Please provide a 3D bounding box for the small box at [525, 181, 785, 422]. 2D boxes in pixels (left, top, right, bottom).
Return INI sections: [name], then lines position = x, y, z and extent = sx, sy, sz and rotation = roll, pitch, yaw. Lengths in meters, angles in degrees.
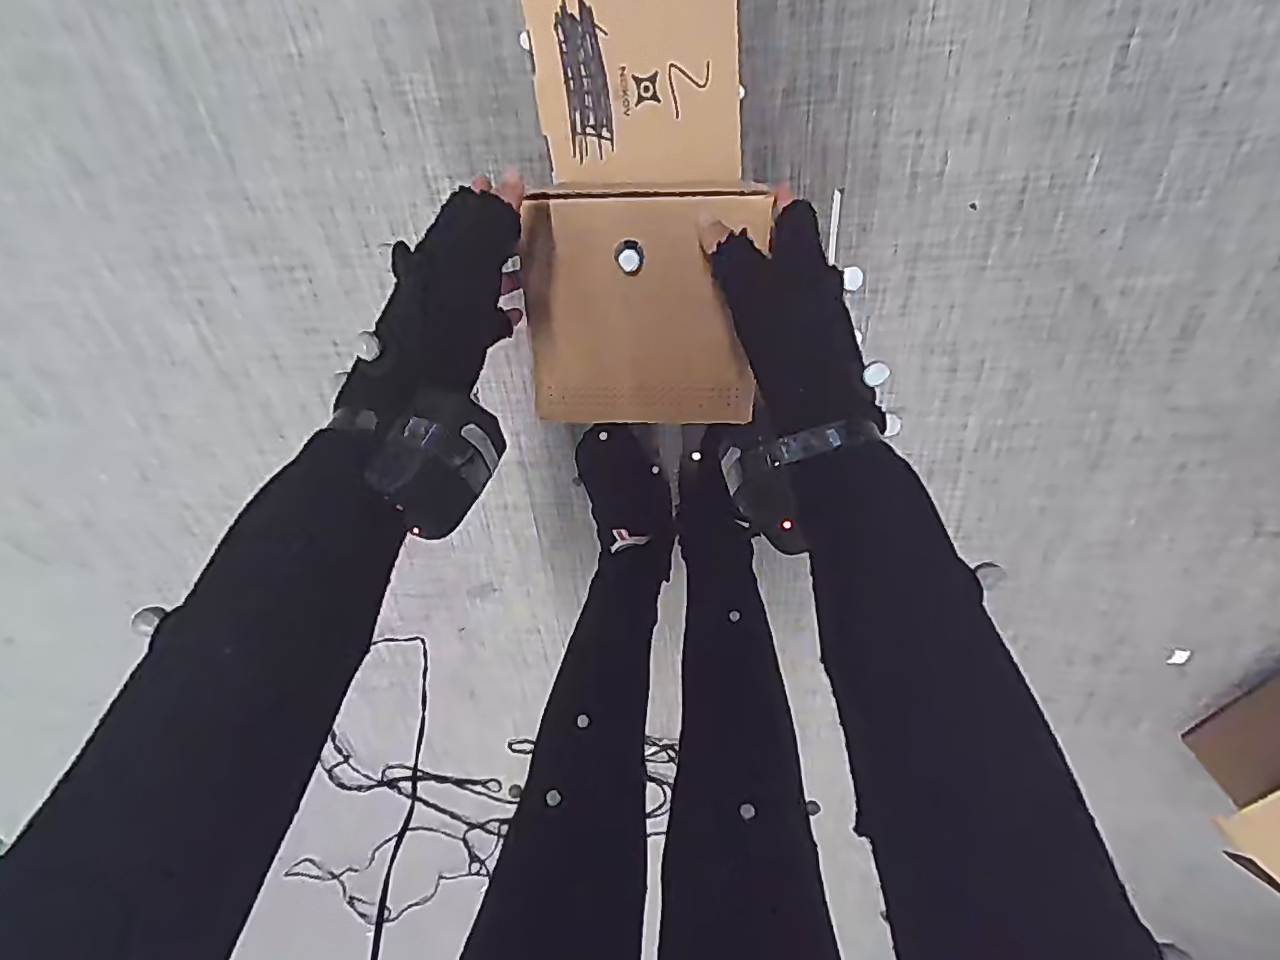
[small box]
position = 0.015, -0.156, 0.466
extent = 0.179, 0.168, 0.176
rotation = 1, 120, 4
